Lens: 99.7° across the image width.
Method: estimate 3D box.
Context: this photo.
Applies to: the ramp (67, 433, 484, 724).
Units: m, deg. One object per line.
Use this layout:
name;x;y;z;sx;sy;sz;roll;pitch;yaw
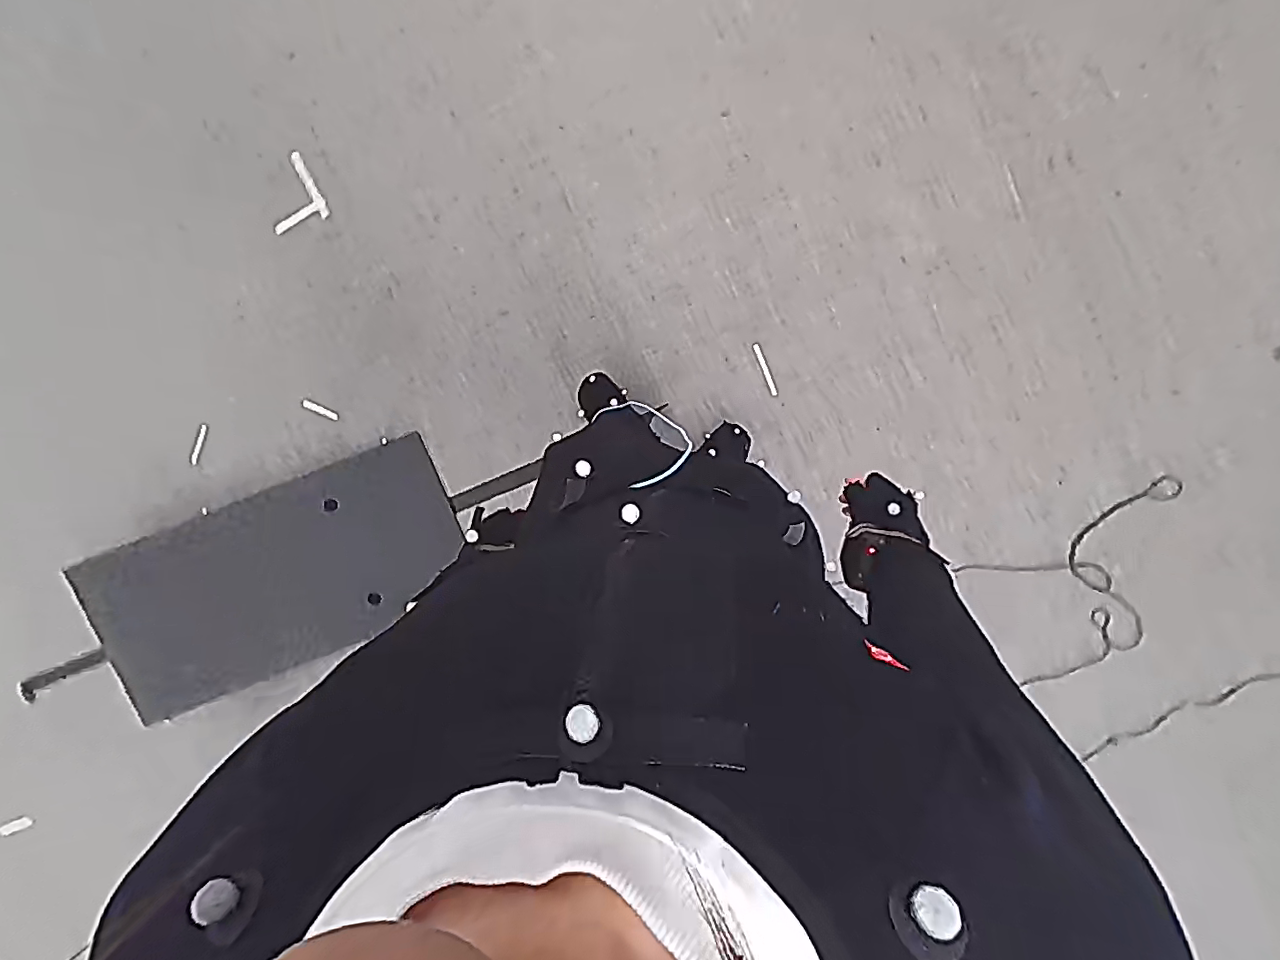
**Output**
ramp;-0.987;0.269;1.496;0.991;0.206;0.509;-22;95;8
